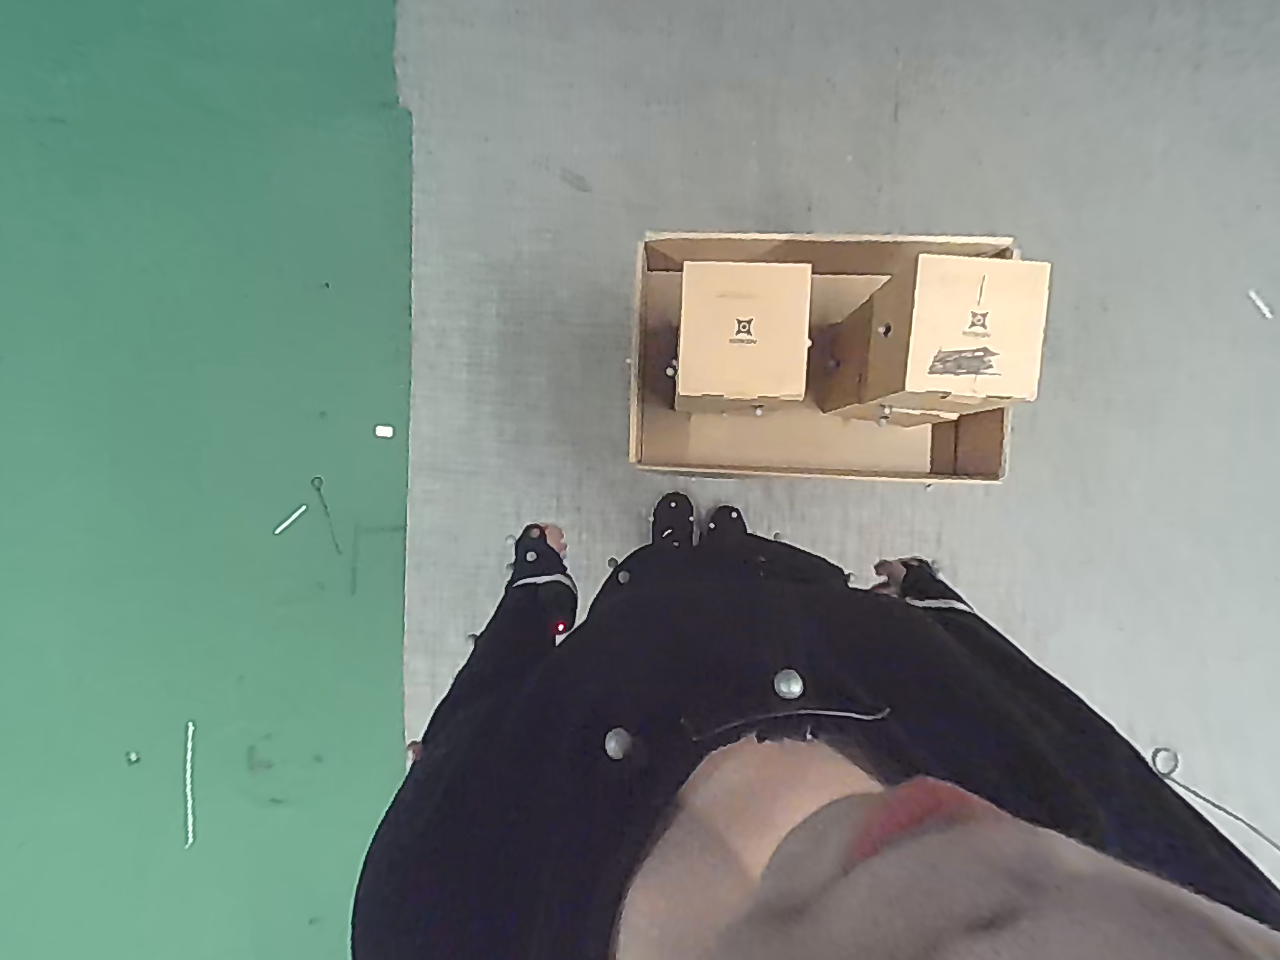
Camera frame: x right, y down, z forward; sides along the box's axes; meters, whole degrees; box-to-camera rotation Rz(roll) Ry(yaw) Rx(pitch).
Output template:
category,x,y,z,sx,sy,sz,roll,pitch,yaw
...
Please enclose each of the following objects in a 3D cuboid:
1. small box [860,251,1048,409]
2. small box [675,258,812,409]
category,x,y,z,sx,sy,sz,roll,pitch,yaw
small box,0.427,-0.199,0.764,0.168,0.176,0.179,5,91,2
small box,0.138,-0.199,0.777,0.168,0.176,0.179,3,91,2
